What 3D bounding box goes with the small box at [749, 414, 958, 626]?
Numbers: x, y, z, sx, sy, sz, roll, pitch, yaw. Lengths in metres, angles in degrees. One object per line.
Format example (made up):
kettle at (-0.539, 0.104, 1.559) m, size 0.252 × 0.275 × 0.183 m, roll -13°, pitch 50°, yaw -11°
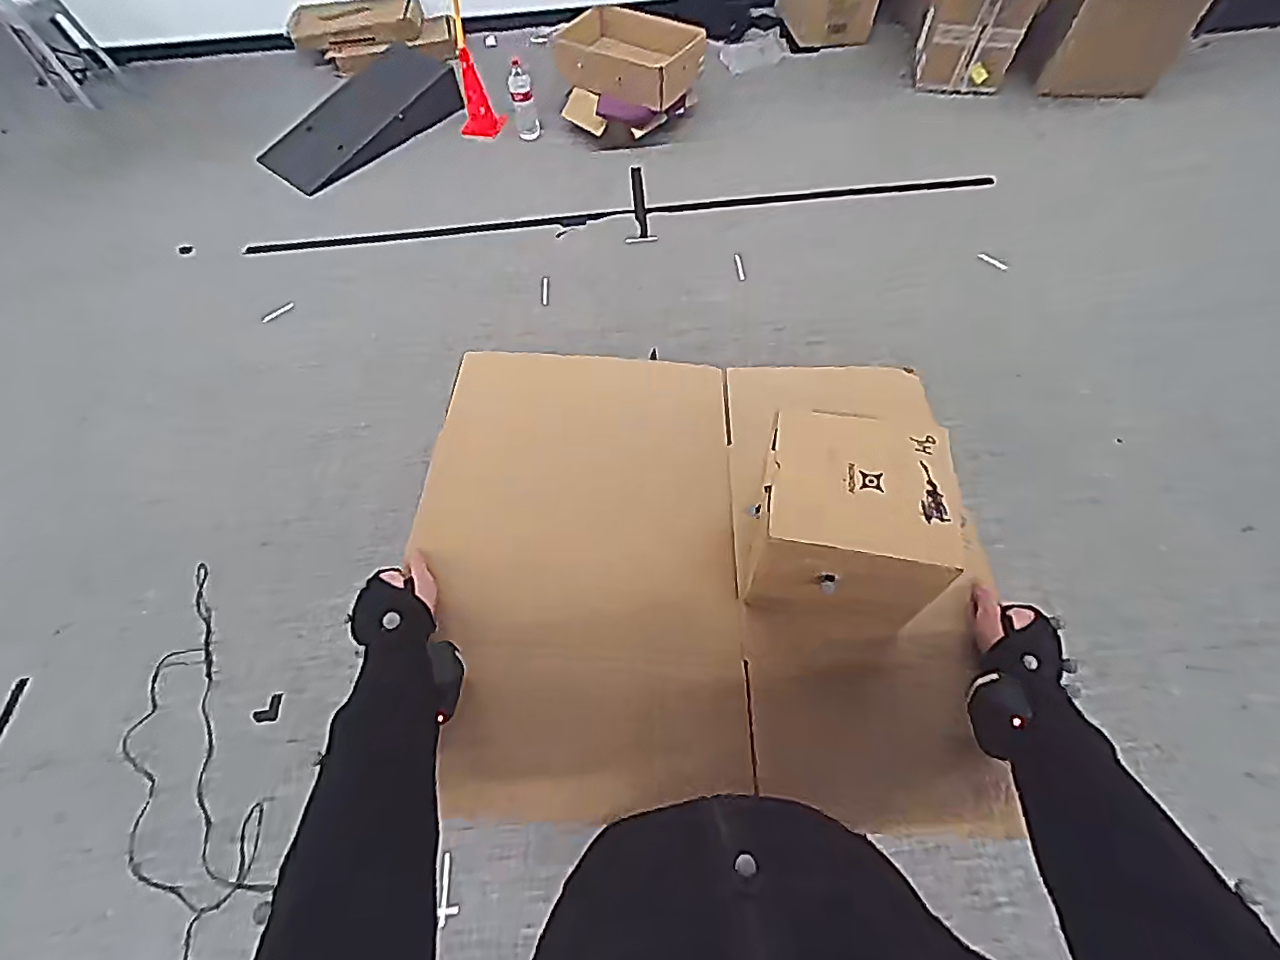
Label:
small box at (0.222, 0.049, 0.604) m, size 0.179 × 0.176 × 0.168 m, roll 8°, pitch 58°, yaw 9°
